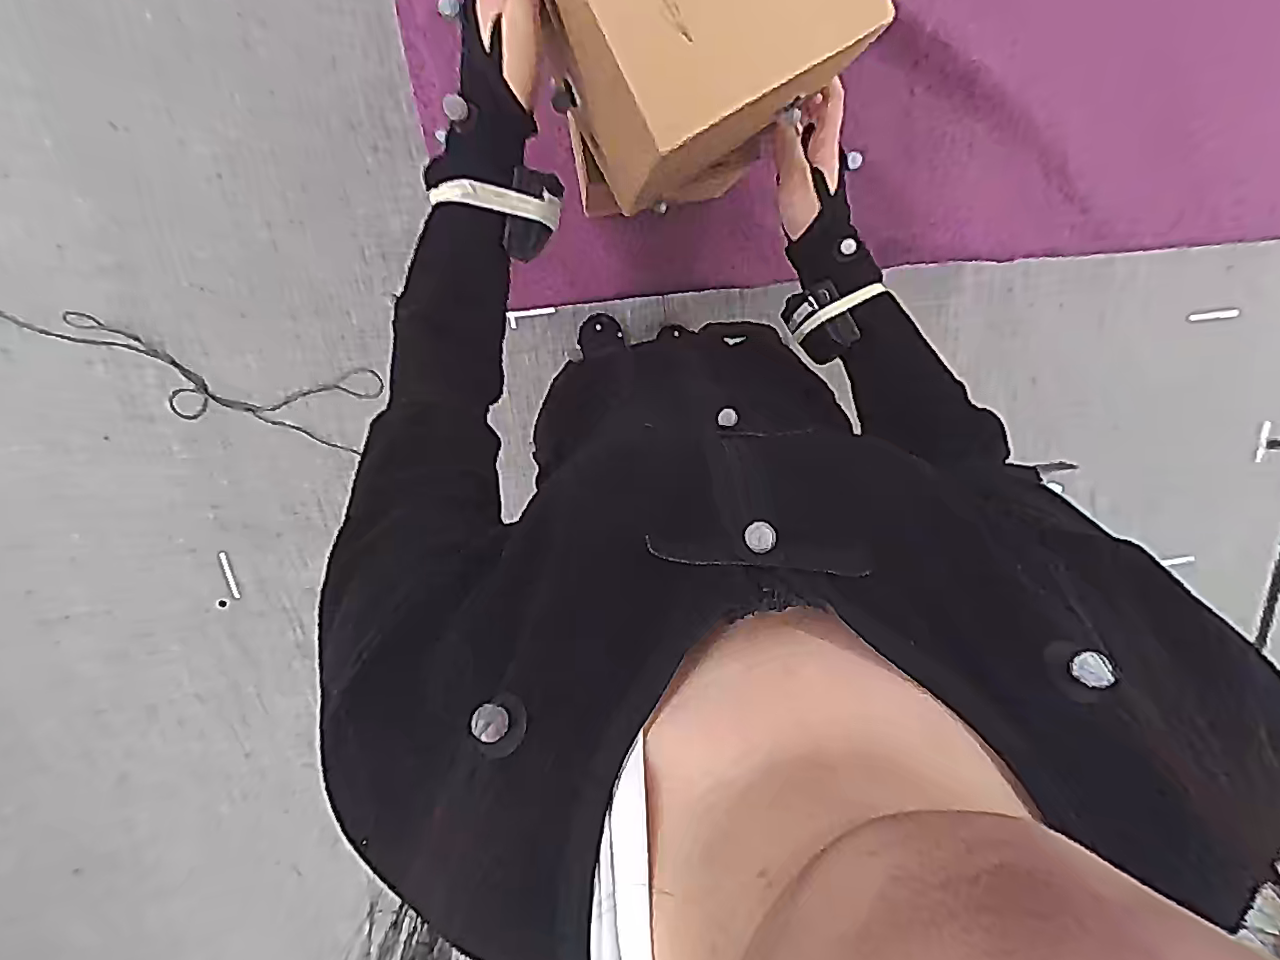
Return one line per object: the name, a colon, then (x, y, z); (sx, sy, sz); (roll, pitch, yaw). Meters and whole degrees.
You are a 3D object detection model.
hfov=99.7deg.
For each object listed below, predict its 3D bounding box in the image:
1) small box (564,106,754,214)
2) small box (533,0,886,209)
small box: (0.007, -0.393, 0.556); (0.168, 0.176, 0.179); (-10, 107, -3)
small box: (0.032, -0.335, 0.396); (0.179, 0.176, 0.168); (-32, 105, -2)
